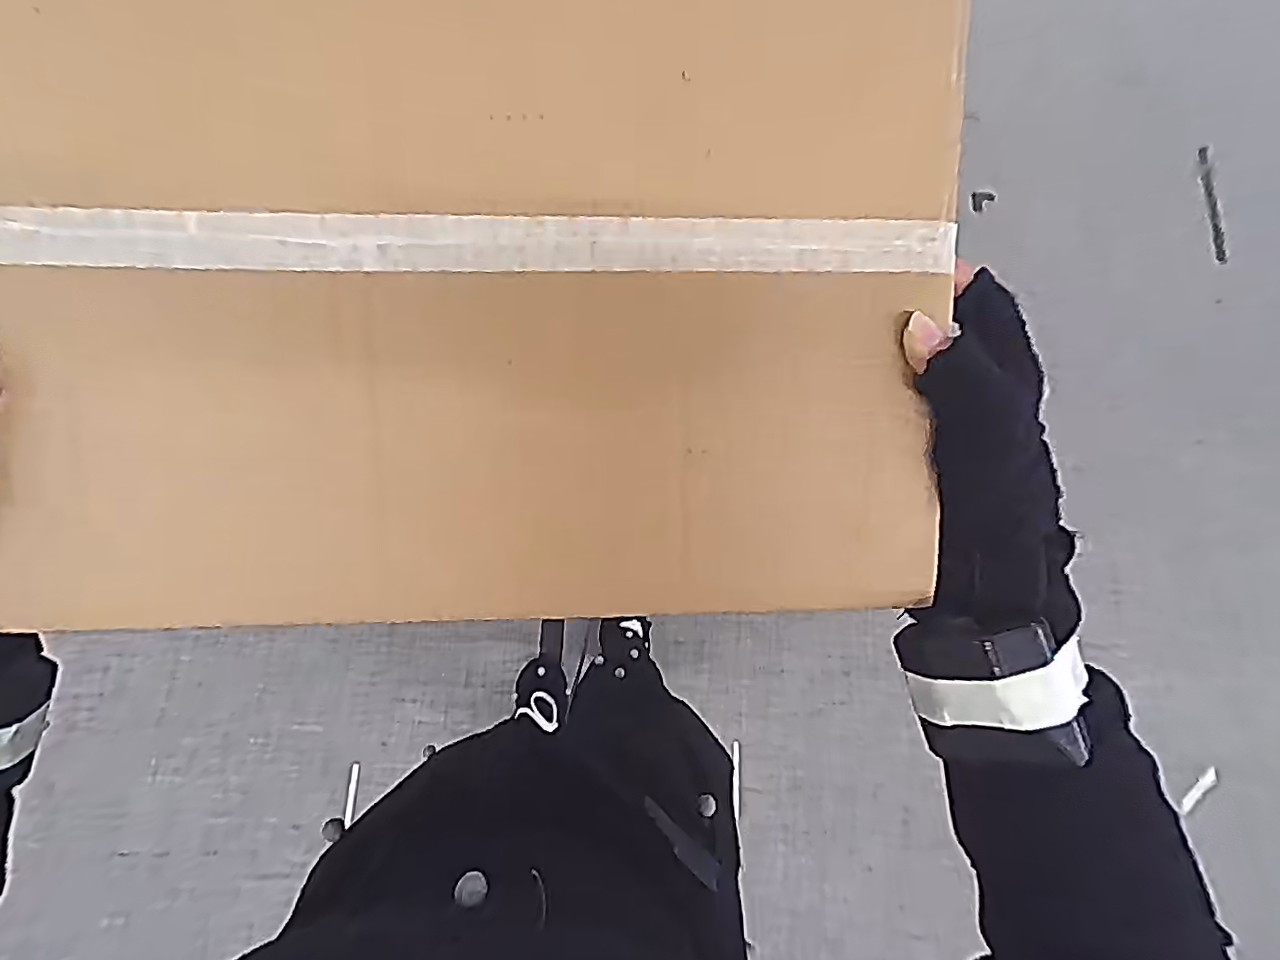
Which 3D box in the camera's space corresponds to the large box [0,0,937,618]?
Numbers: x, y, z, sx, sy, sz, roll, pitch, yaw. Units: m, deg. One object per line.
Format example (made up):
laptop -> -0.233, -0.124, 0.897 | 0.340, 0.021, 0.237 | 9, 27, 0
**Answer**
large box -> -0.080, -0.113, 0.377 | 0.408, 0.320, 0.320 | 0, 96, -4
